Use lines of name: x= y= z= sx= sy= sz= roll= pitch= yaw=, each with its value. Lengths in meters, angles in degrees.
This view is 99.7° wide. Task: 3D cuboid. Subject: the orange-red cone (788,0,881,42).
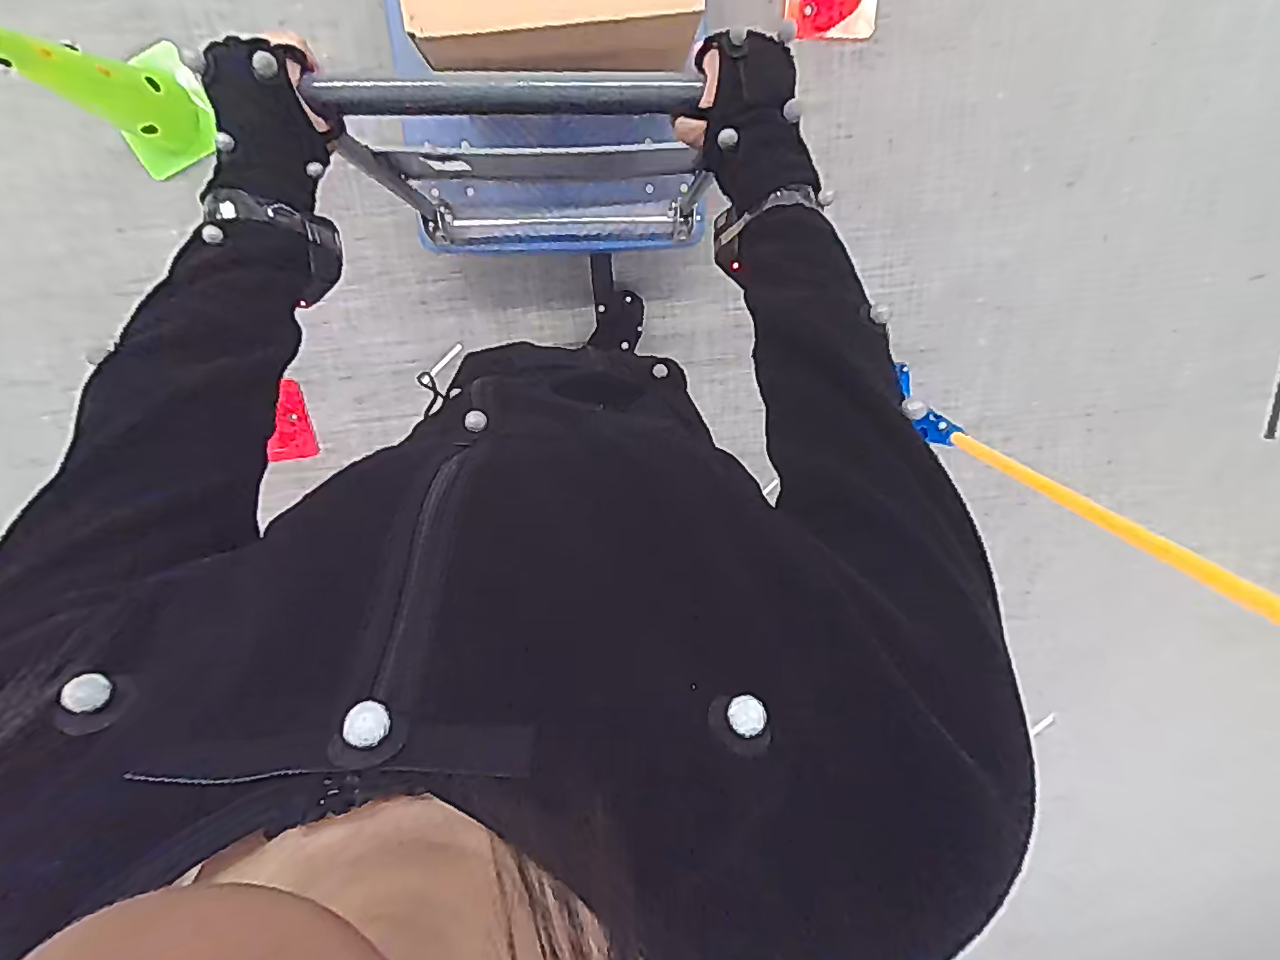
orange-red cone: x=0.429 y=-0.989 z=0.973 sx=0.199 sy=0.360 sz=0.198 roll=0 pitch=109 yaw=-5
